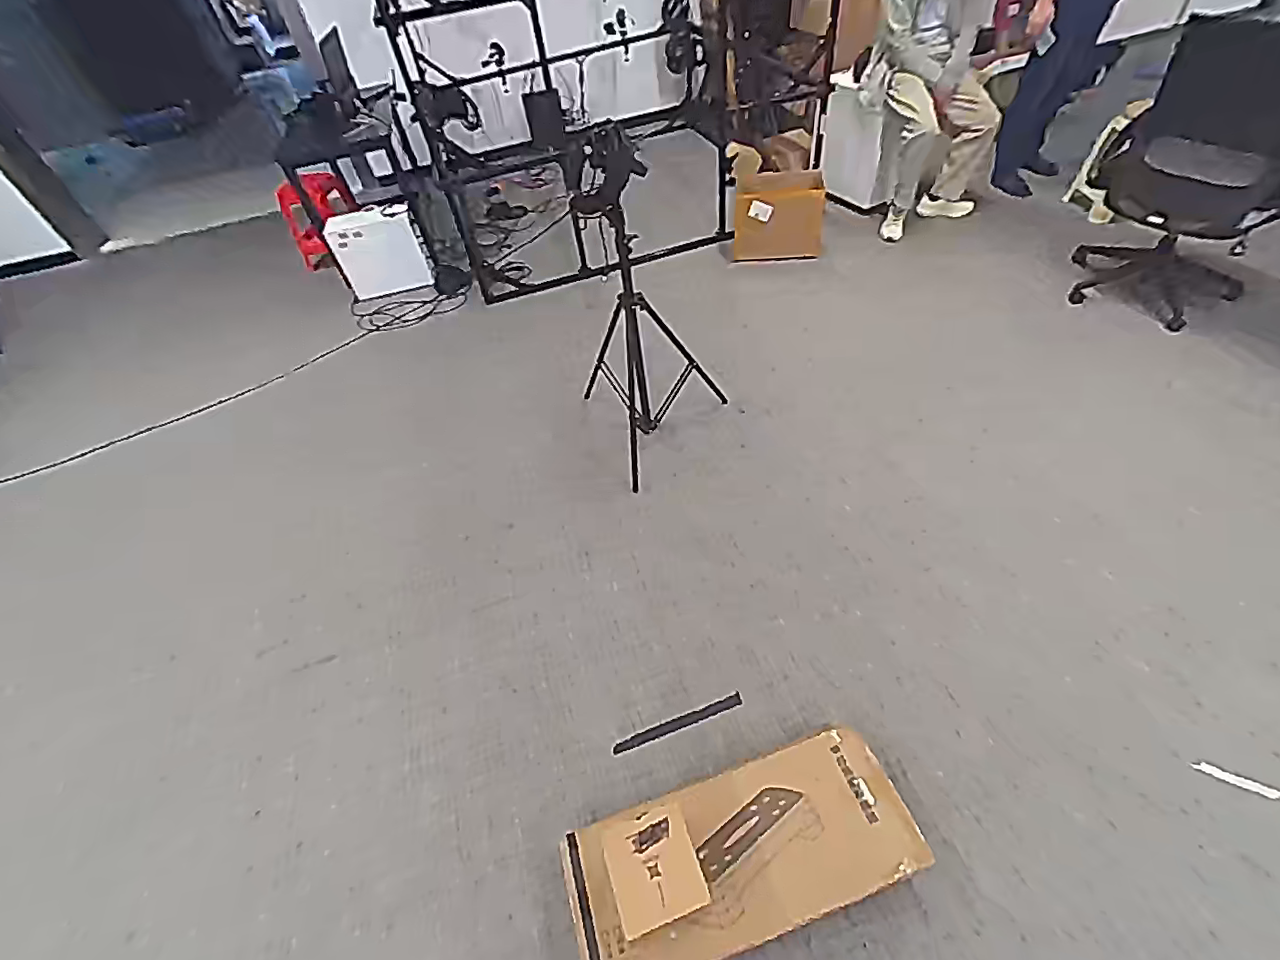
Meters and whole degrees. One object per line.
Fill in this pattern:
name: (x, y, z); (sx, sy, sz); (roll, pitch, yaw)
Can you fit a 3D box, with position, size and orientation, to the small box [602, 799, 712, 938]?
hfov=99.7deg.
small box: (0.034, 0.775, 1.076); (0.168, 0.176, 0.179); (-18, 49, -8)
